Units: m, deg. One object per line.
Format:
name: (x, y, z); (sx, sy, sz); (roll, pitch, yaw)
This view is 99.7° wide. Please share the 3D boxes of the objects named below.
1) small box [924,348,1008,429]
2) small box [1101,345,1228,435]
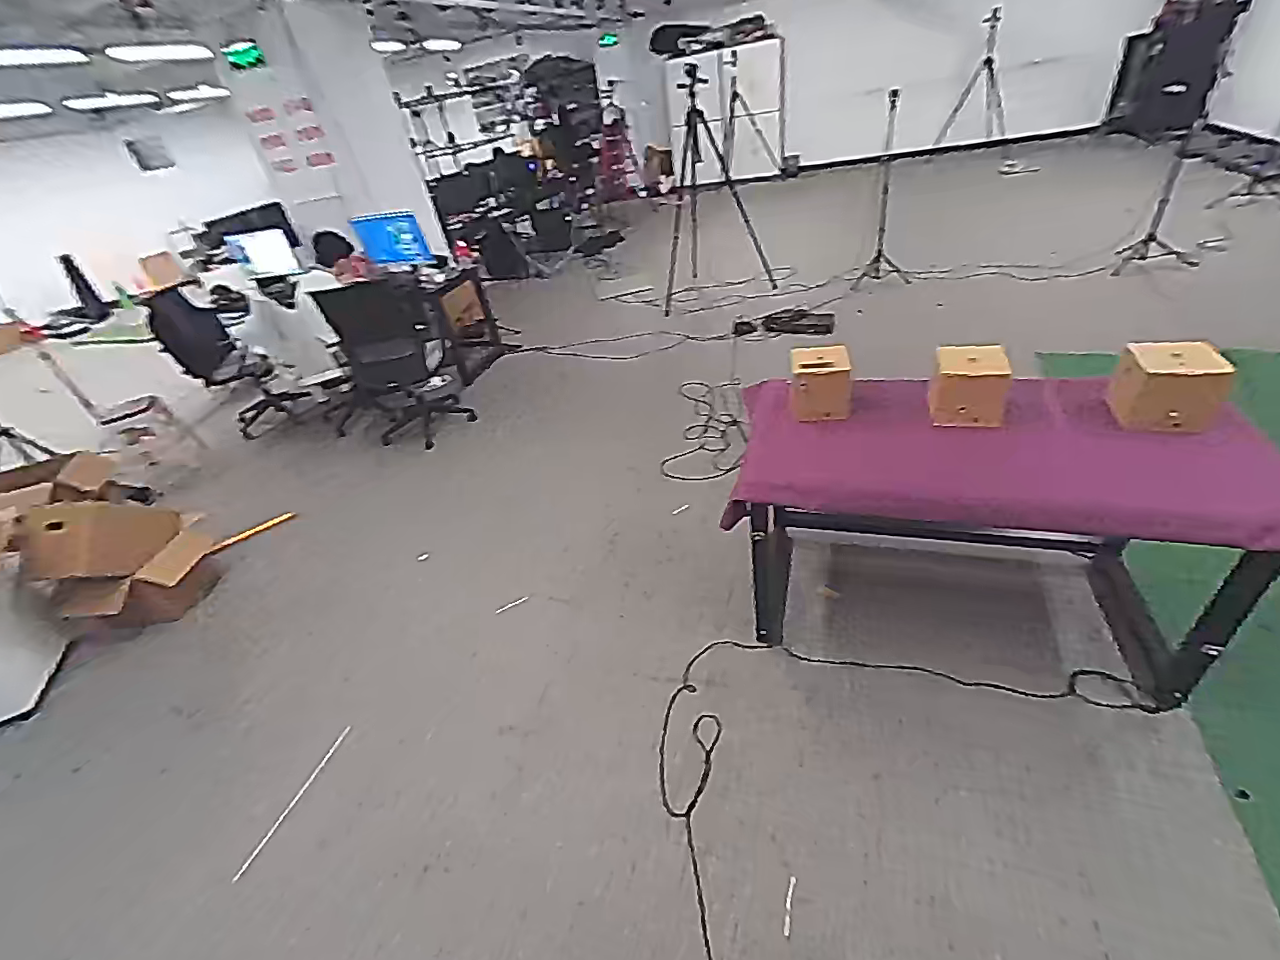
small box: (0.923, -0.265, 1.548); (0.168, 0.176, 0.179); (4, 40, 19)
small box: (1.335, -0.235, 1.394); (0.168, 0.176, 0.179); (4, 39, 21)
